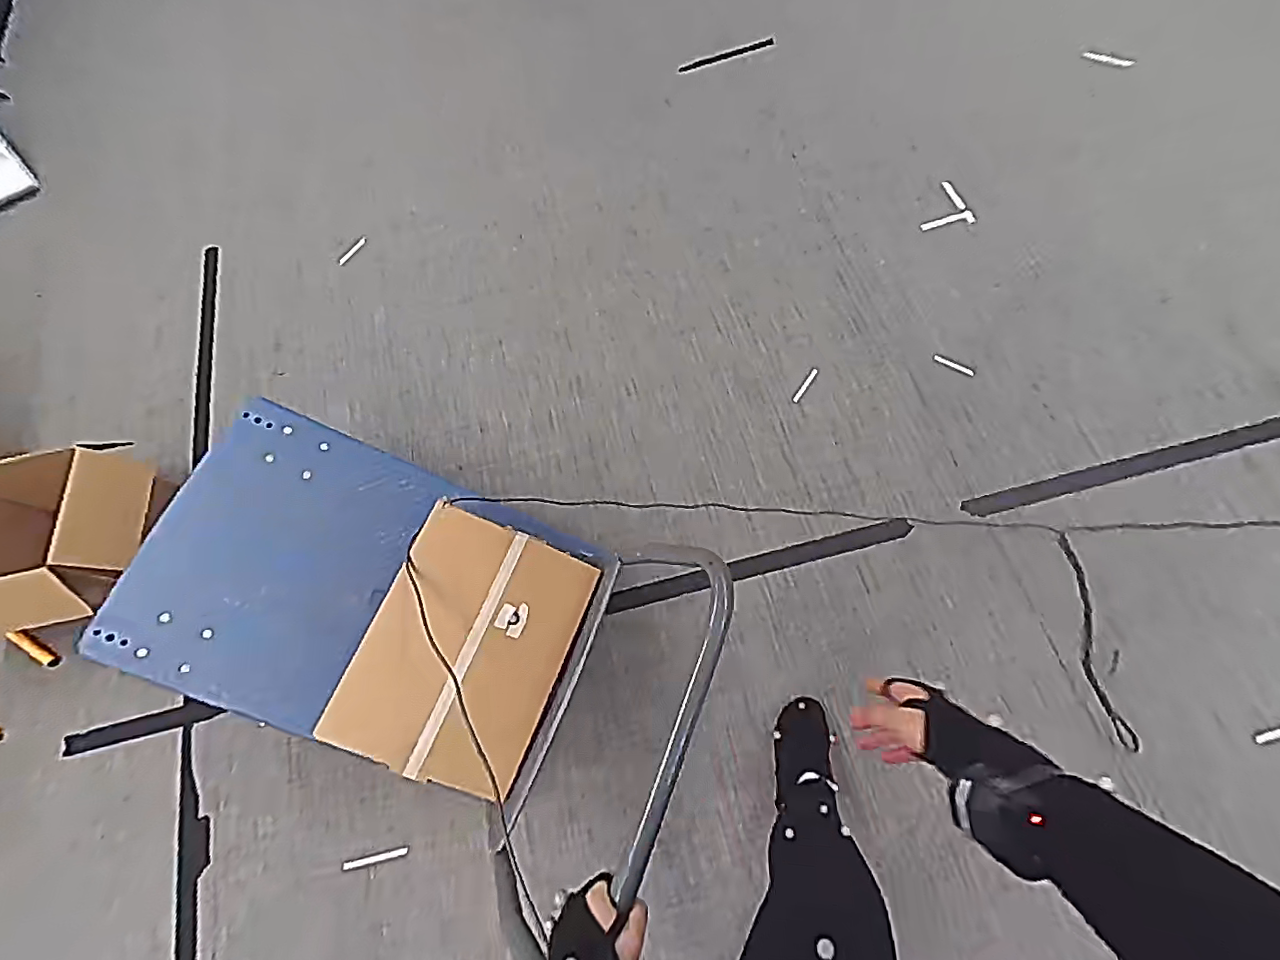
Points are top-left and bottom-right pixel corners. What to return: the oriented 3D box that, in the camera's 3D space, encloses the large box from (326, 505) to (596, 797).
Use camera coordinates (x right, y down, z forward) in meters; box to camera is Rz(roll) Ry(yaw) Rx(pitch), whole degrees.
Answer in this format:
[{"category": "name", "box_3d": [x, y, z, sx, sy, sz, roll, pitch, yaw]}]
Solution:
[{"category": "large box", "box_3d": [-0.320, 0.312, 1.046, 0.320, 0.320, 0.408, 25, 72, -10]}]
